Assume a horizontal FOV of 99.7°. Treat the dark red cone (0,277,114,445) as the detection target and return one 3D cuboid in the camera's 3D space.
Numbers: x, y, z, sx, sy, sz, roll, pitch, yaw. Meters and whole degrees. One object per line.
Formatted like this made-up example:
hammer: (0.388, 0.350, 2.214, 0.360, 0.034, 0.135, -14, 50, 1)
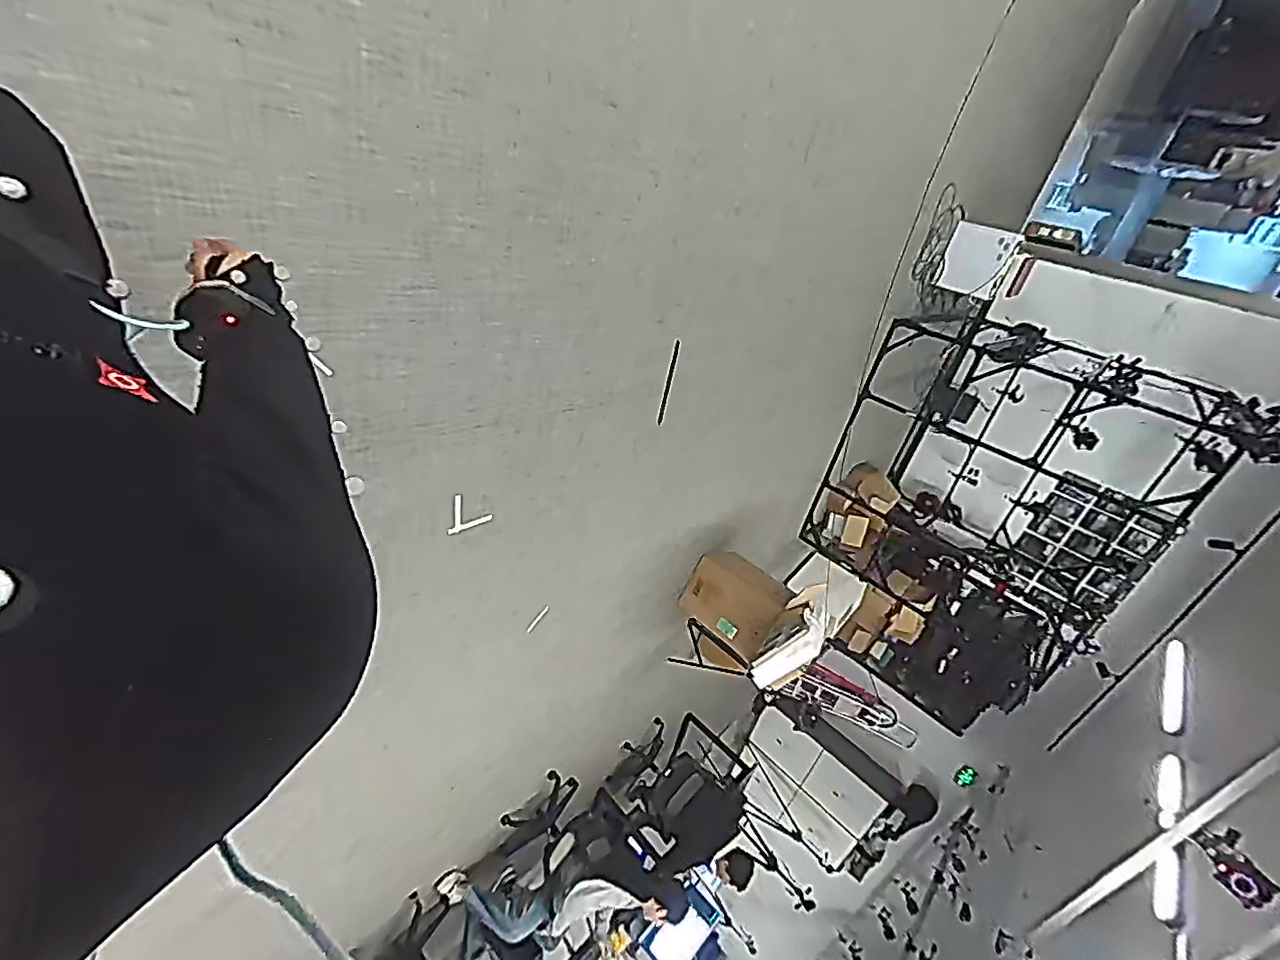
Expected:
dark red cone: (-0.927, -0.162, 0.822, 0.201, 0.394, 0.202, -18, 133, -43)
